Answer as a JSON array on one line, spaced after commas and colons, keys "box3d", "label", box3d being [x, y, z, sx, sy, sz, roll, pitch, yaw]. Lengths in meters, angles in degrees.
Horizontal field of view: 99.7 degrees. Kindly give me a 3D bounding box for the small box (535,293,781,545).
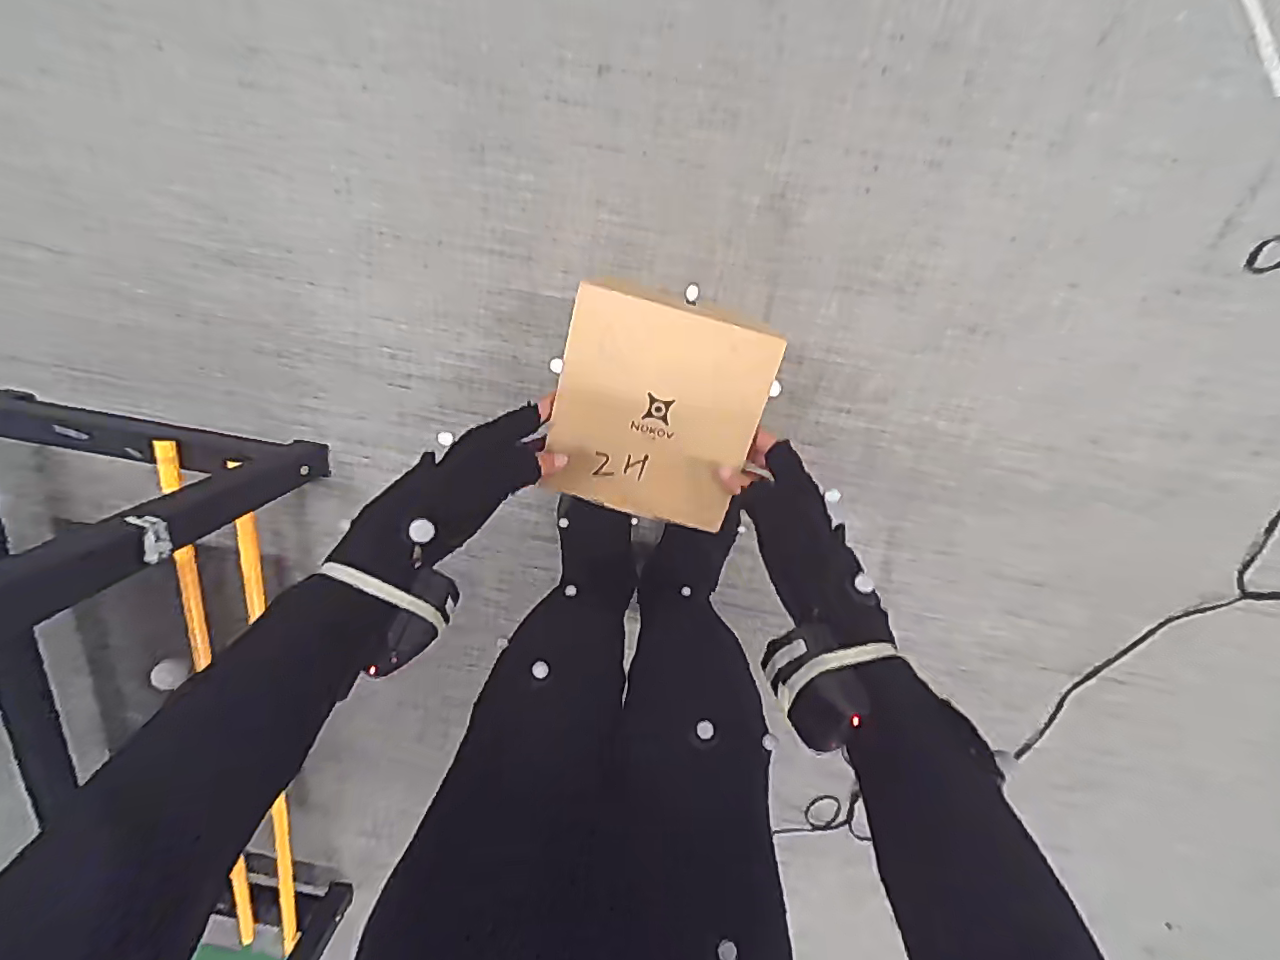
[{"box3d": [0.012, -0.069, 0.513, 0.168, 0.176, 0.179, 15, 112, -3], "label": "small box"}]
